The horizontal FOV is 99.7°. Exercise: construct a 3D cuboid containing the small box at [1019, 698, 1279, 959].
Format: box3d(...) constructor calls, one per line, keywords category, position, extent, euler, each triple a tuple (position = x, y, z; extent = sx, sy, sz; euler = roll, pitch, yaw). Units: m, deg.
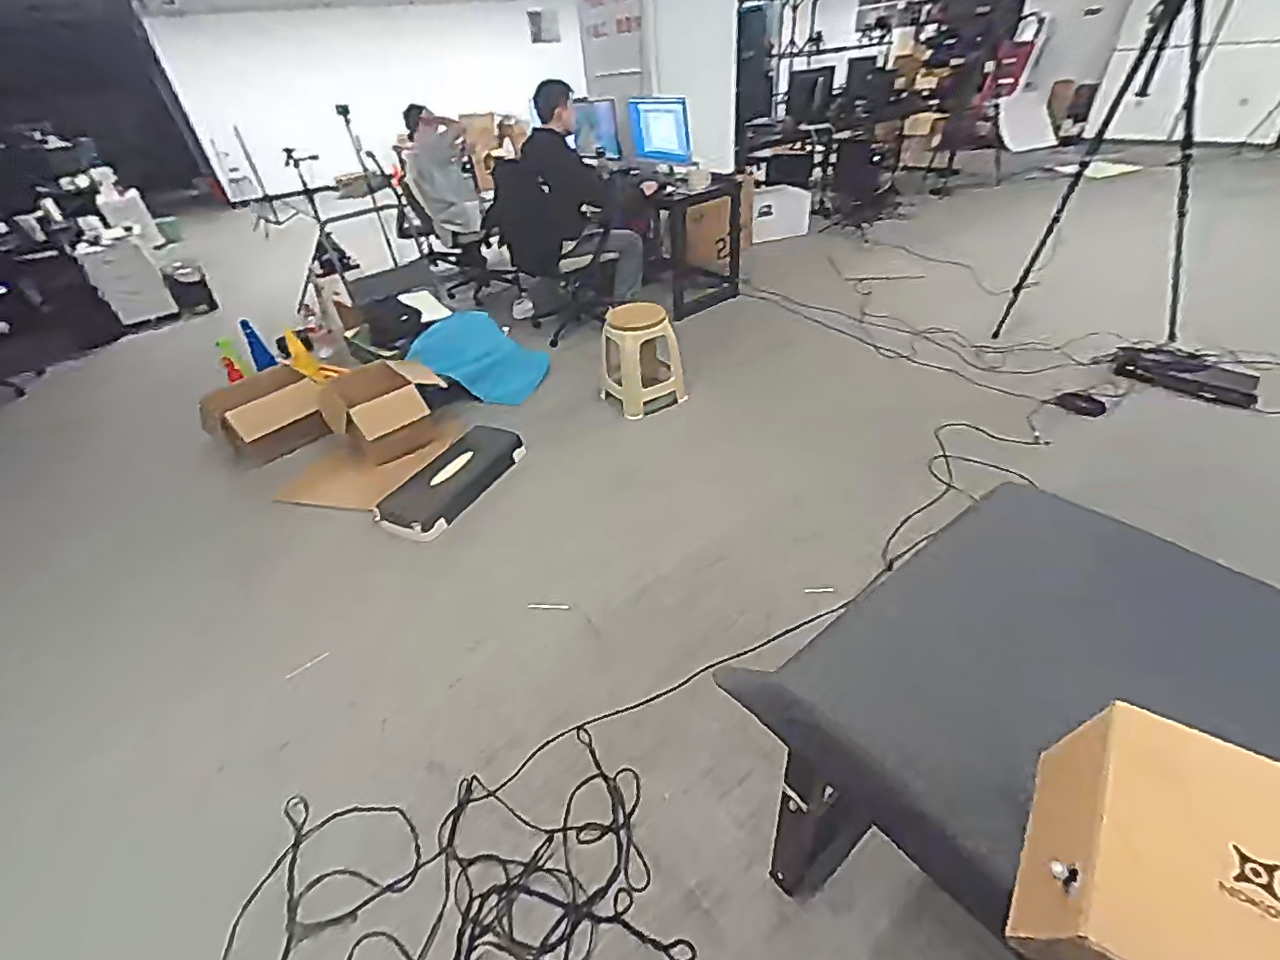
box3d(category="small box", position=(0.420, 0.308, 0.411), extent=(0.168, 0.176, 0.179), euler=(20, 59, 28))
